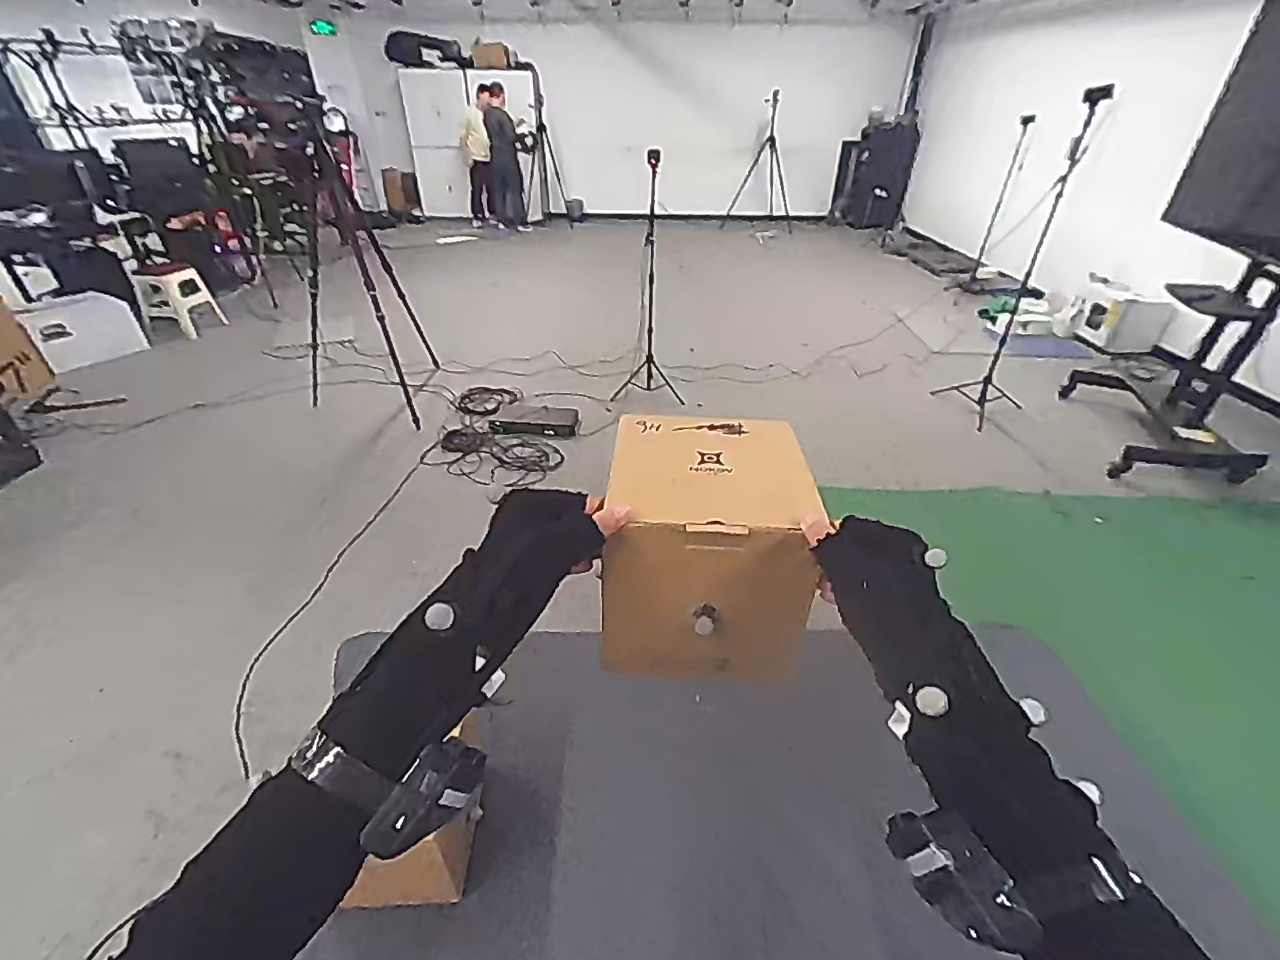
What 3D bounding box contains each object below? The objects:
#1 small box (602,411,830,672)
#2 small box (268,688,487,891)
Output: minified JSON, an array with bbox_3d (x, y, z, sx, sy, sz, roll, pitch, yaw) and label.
[{"bbox_3d":[0.059,0.053,0.495,0.168,0.176,0.179,3,34,2],"label":"small box"},{"bbox_3d":[-0.300,0.379,0.665,0.179,0.176,0.168,0,36,-3],"label":"small box"}]
